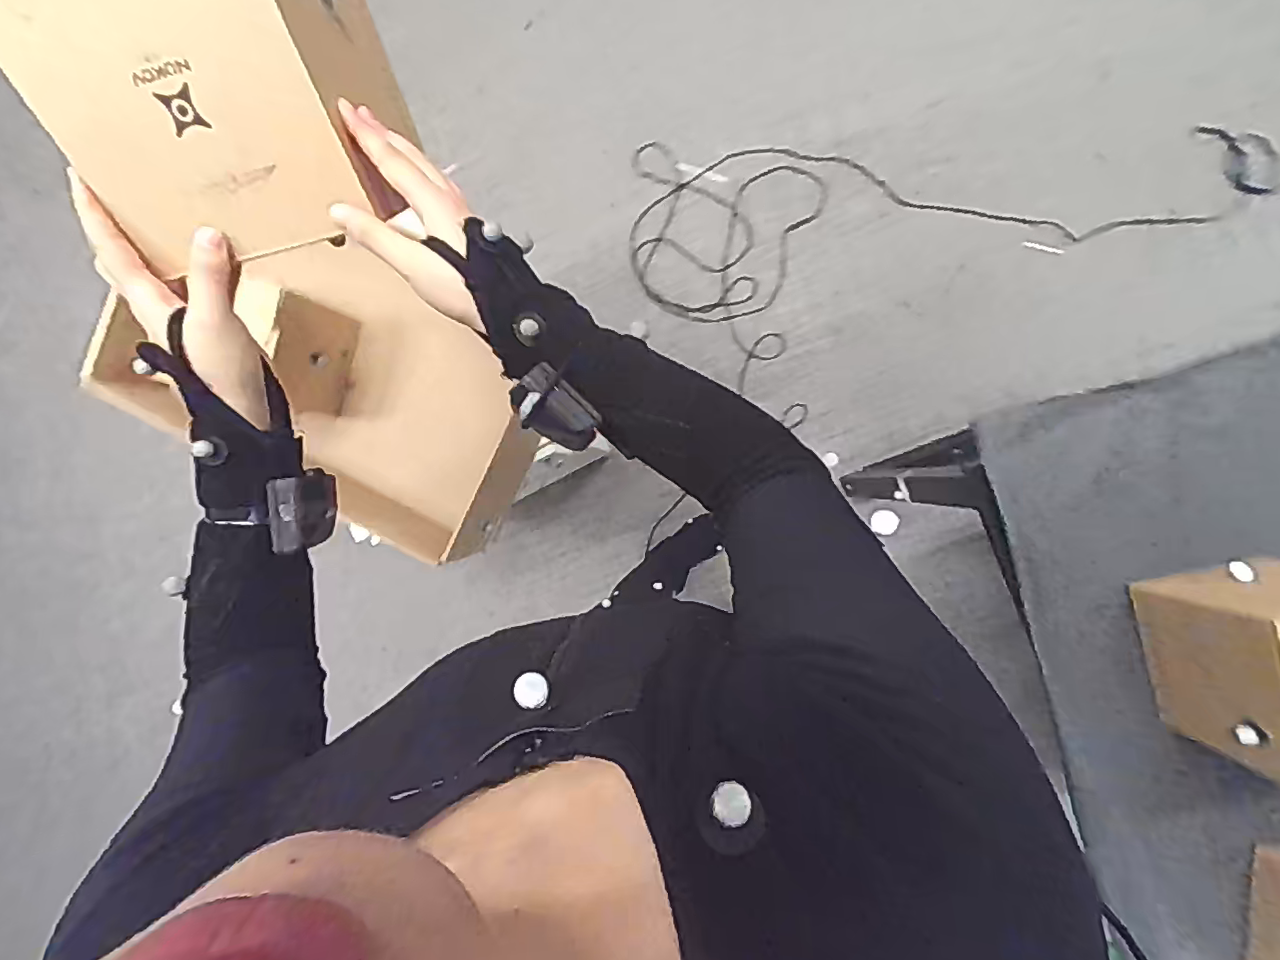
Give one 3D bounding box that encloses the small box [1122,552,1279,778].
[{"bbox_3d":[0.682,0.187,0.583,0.168,0.176,0.179,-13,88,4],"label":"small box"}]
